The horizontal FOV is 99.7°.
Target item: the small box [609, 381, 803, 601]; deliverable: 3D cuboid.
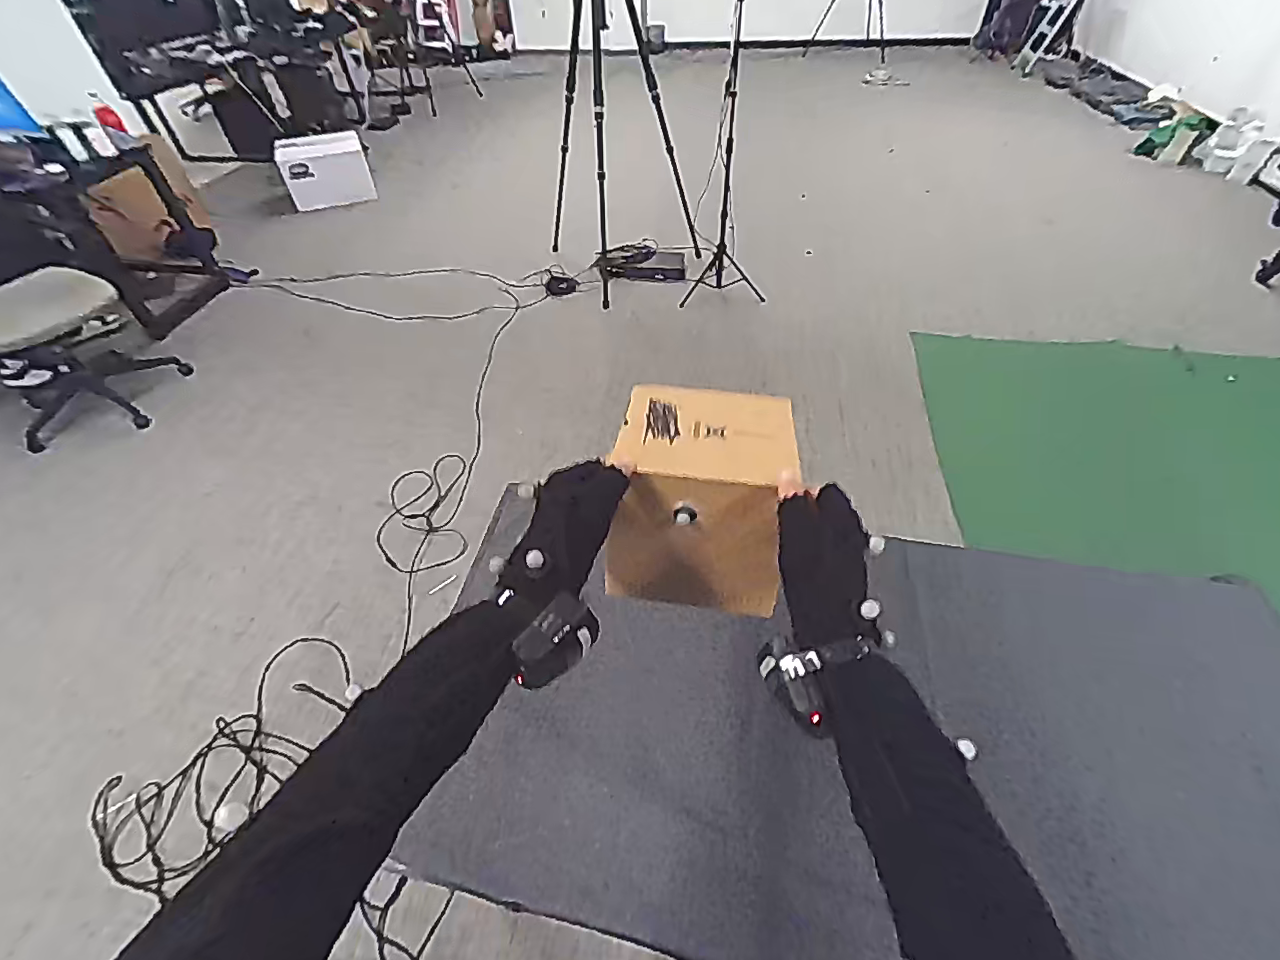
[{"bbox_3d":[0.066,0.010,0.586,0.179,0.176,0.168,7,37,5],"label":"small box"}]
